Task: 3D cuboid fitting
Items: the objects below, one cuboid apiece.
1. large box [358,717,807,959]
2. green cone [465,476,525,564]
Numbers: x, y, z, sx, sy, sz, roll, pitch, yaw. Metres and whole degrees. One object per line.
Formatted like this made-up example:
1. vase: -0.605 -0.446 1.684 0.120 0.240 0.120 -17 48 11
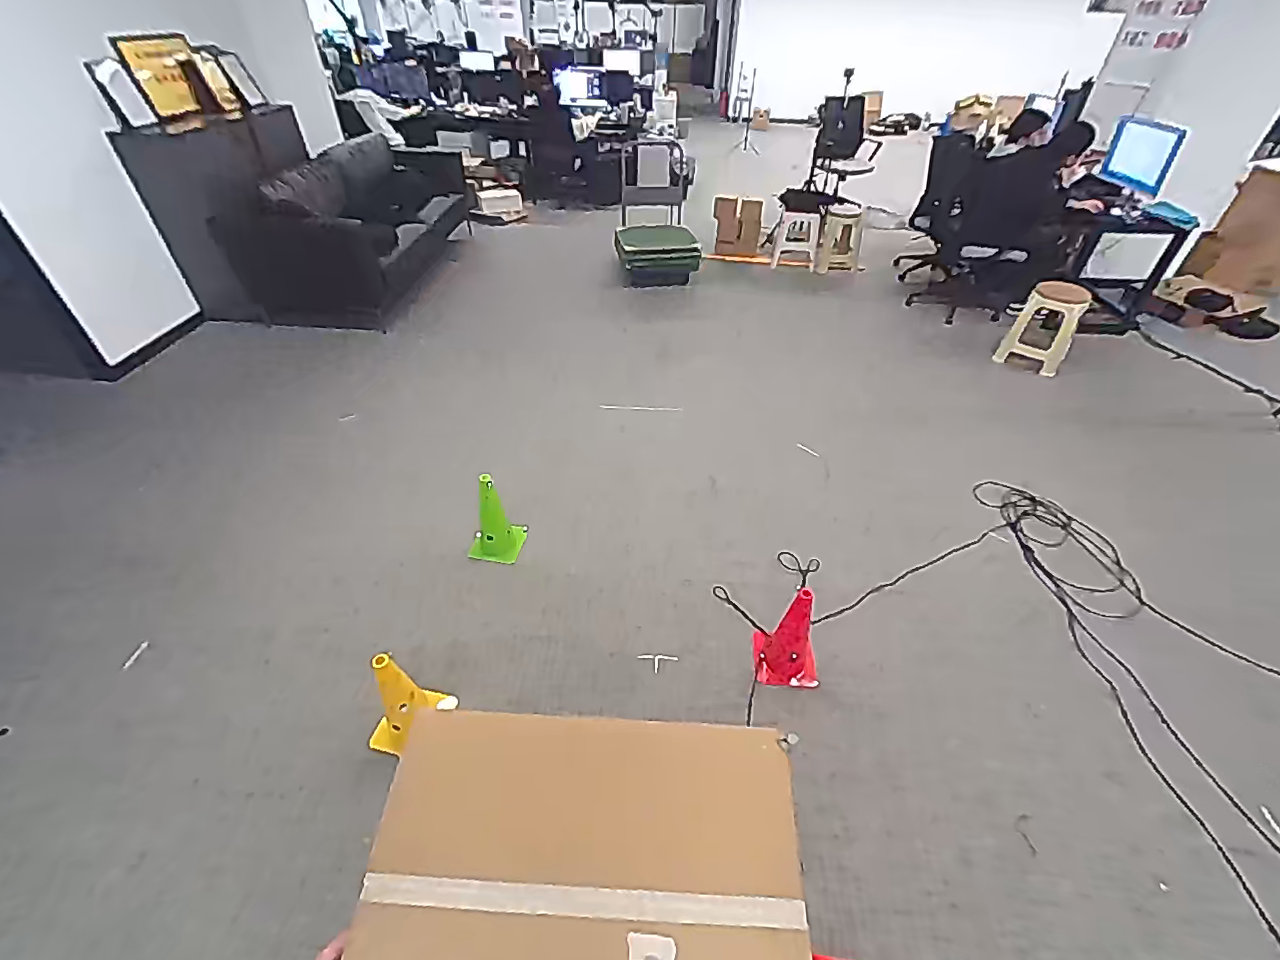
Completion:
1. large box: -0.051 0.481 0.618 0.408 0.320 0.320 2 53 1
2. green cone: -0.588 0.128 2.093 0.200 0.368 0.202 7 42 7
